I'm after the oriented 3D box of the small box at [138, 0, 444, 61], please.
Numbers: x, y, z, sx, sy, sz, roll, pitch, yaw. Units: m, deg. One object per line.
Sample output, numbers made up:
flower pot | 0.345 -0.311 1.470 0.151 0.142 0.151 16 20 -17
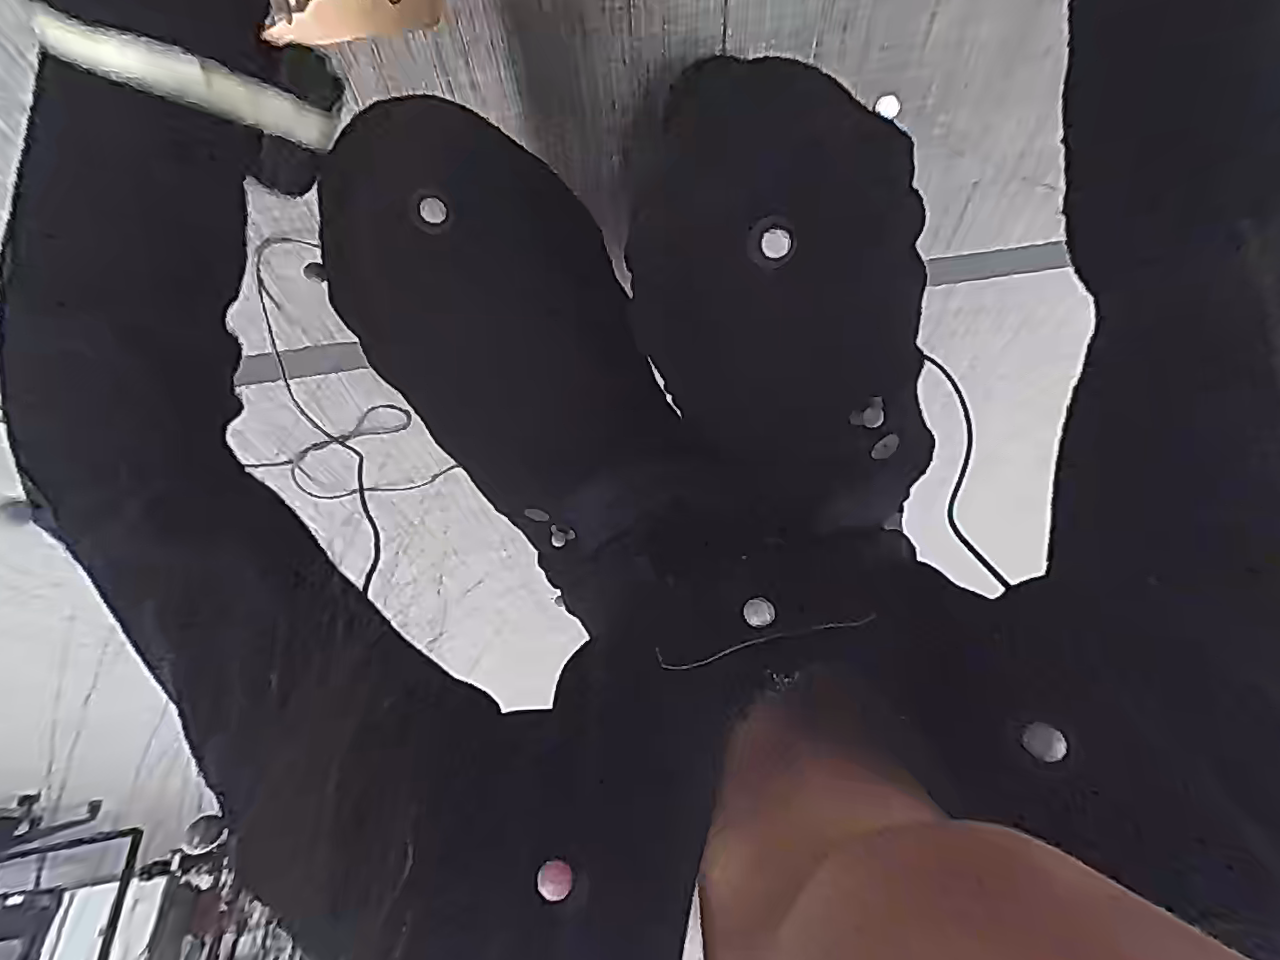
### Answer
small box | -0.225 -0.387 0.316 0.168 0.176 0.179 -10 145 -3
